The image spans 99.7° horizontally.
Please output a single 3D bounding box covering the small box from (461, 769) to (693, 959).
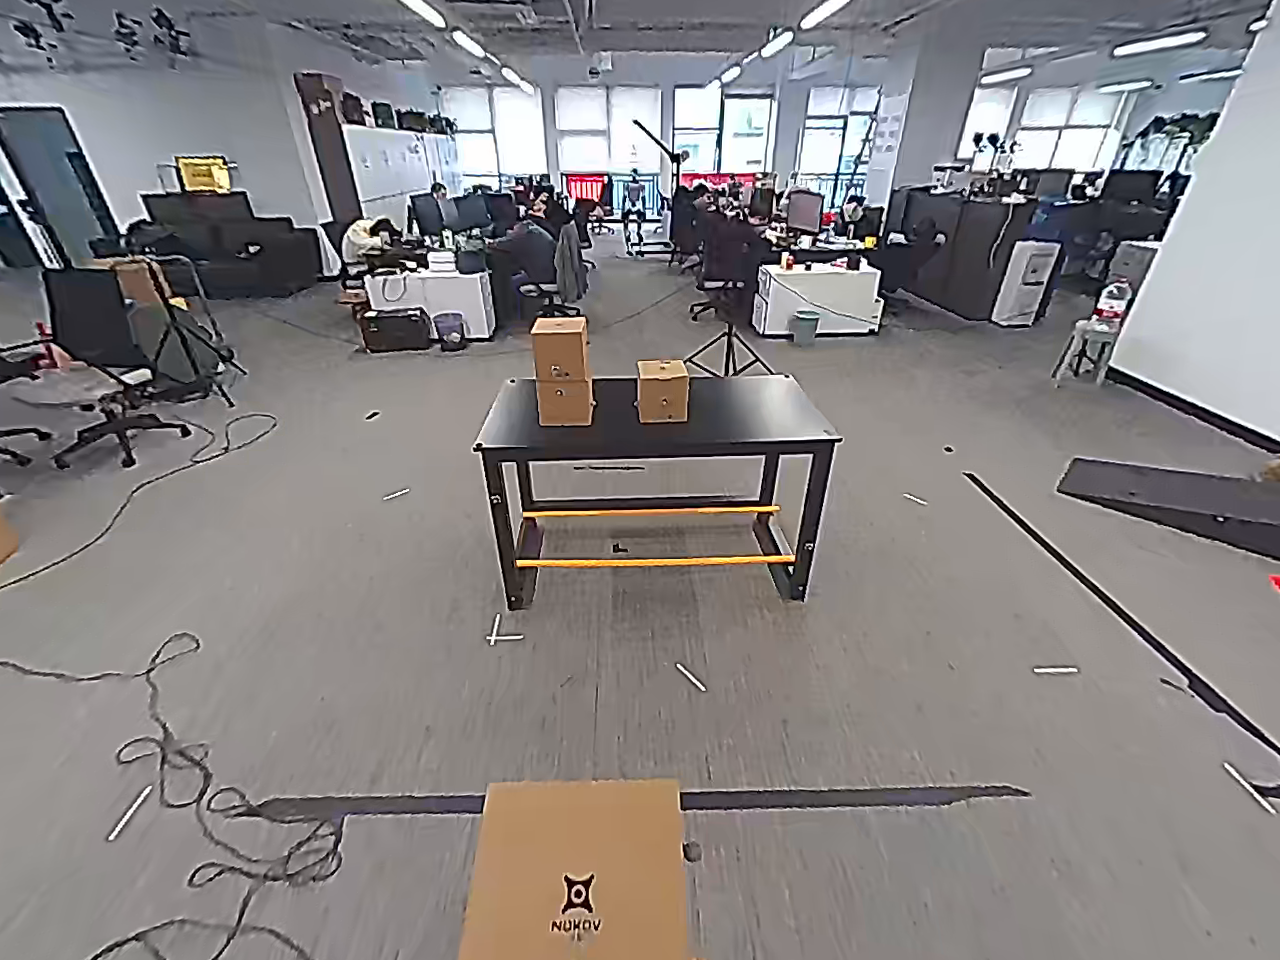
[{"bbox_3d":[-0.044,0.371,0.461,0.168,0.176,0.179,-2,43,0],"label":"small box"}]

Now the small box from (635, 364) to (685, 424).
[{"bbox_3d":[0.070,-0.305,1.939,0.168,0.176,0.179,-3,31,-3],"label":"small box"}]

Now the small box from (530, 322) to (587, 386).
[{"bbox_3d":[-0.270,-0.426,1.827,0.168,0.176,0.179,-3,32,-1],"label":"small box"}]

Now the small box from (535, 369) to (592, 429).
[{"bbox_3d":[-0.266,-0.288,1.912,0.179,0.176,0.168,0,31,-1],"label":"small box"}]
